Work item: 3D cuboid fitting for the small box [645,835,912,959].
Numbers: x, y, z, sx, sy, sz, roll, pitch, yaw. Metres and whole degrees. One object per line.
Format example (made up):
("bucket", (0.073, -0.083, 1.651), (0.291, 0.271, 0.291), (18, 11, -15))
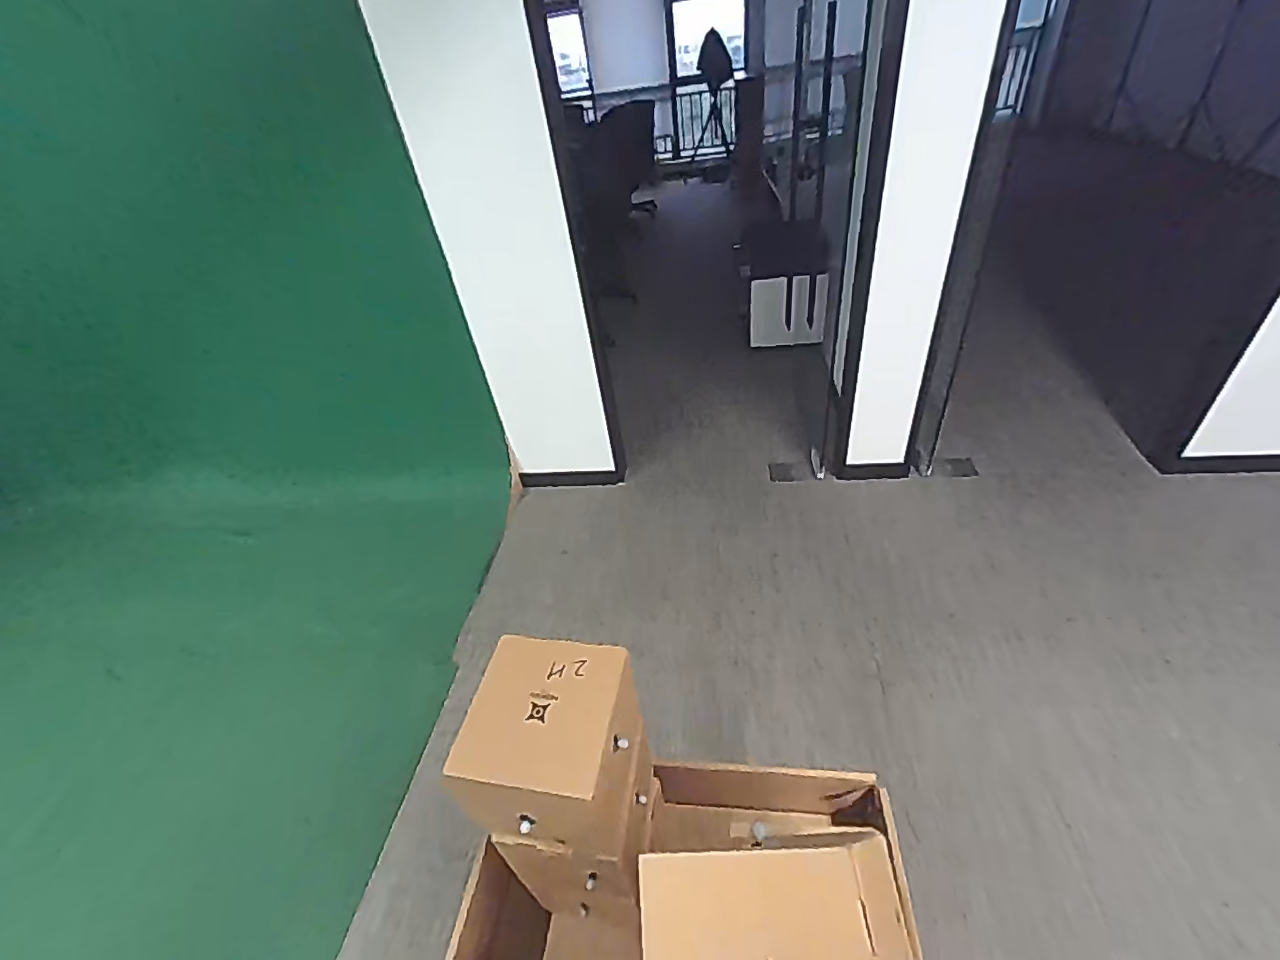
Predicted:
("small box", (0.120, 0.393, 0.439), (0.179, 0.176, 0.168), (-17, 57, 21))

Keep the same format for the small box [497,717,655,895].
("small box", (-0.074, 0.449, 0.759), (0.168, 0.176, 0.179), (2, 39, 11))

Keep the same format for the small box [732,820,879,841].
("small box", (0.193, 0.518, 0.615), (0.168, 0.176, 0.179), (-3, 39, 8))

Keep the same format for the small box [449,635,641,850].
("small box", (-0.098, 0.319, 0.661), (0.168, 0.176, 0.179), (3, 40, 12))
